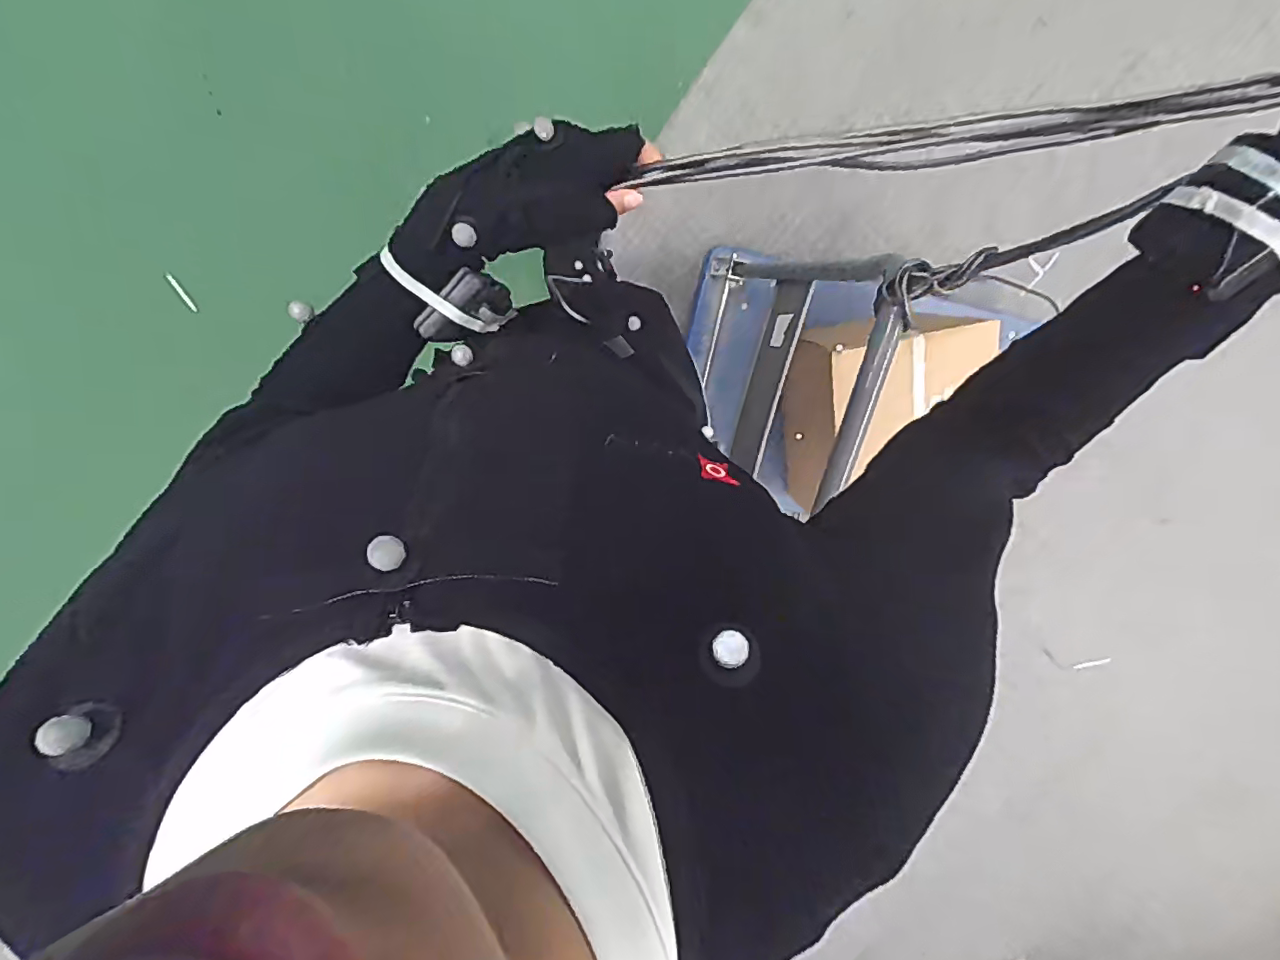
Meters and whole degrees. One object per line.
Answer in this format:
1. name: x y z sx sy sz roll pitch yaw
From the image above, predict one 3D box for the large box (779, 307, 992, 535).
1. large box: 0.509 -0.143 1.179 0.320 0.320 0.408 -10 110 -2
